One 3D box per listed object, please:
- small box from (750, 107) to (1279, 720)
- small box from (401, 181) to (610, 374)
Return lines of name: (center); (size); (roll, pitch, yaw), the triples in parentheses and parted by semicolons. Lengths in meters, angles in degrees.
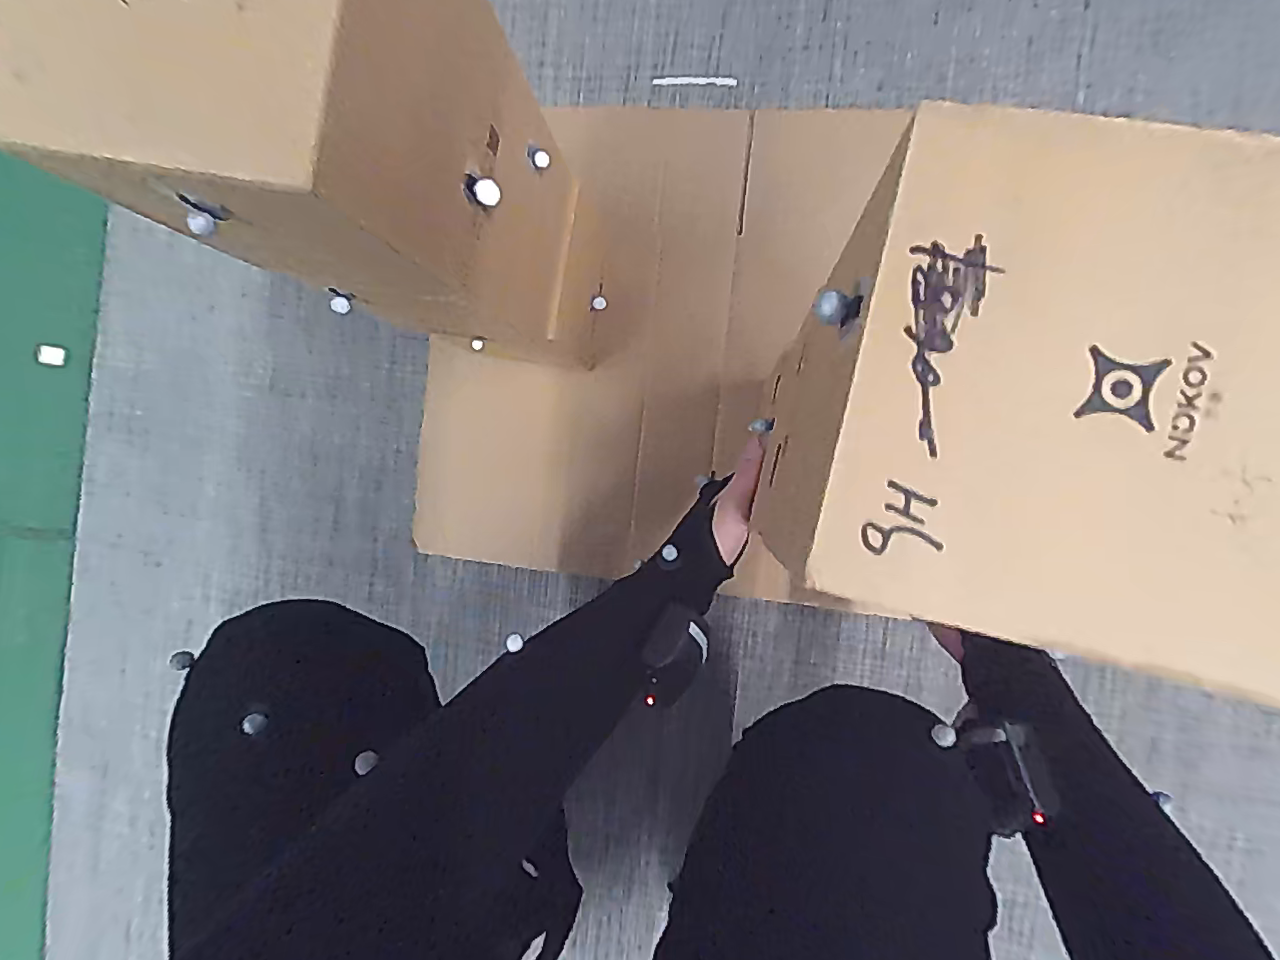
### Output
small box: (0.159, -0.021, 0.247); (0.179, 0.176, 0.168); (14, 89, 8)
small box: (-0.147, -0.230, 0.642); (0.179, 0.176, 0.168); (10, 92, 8)
